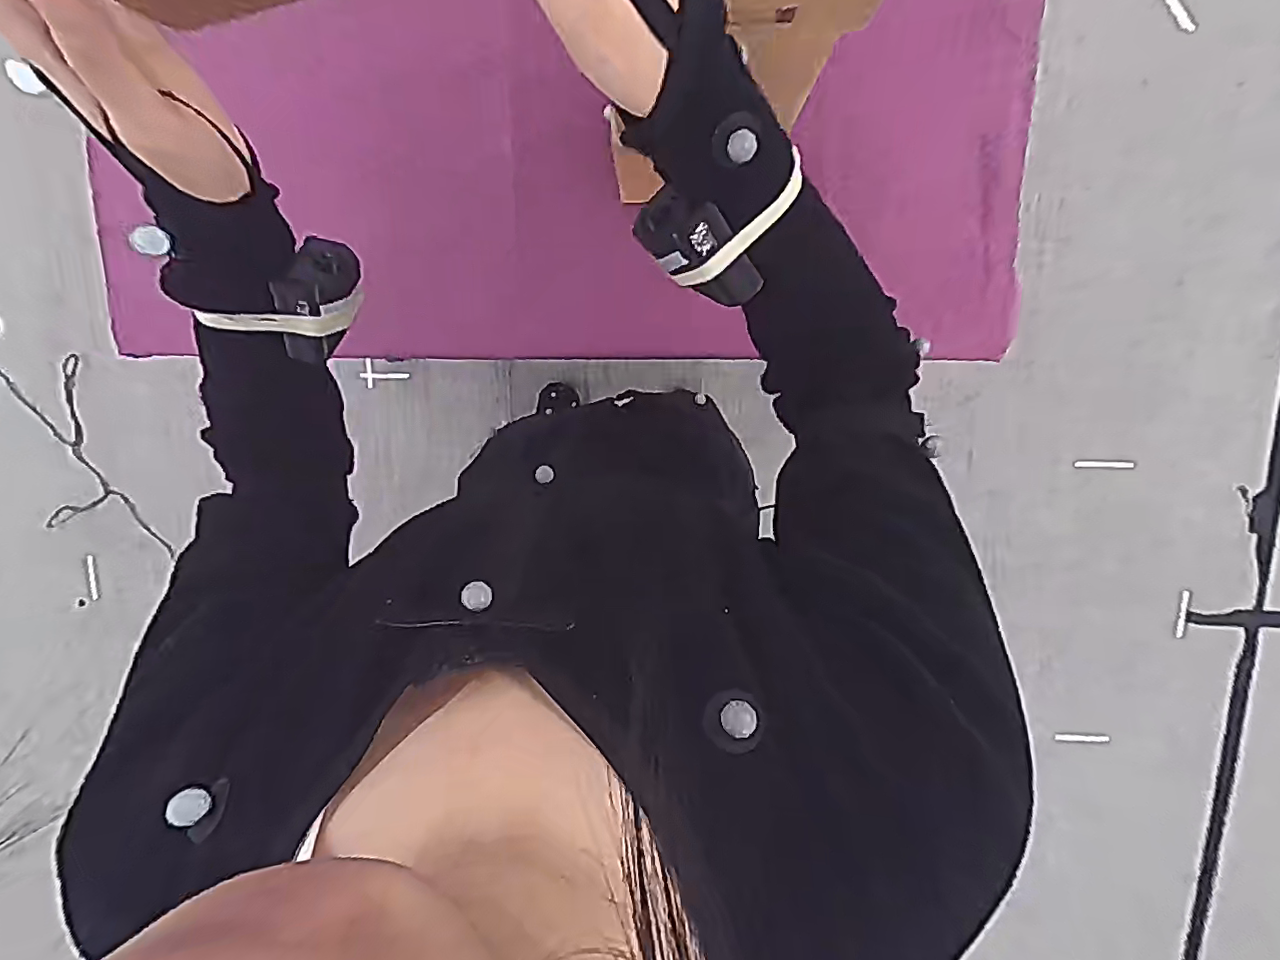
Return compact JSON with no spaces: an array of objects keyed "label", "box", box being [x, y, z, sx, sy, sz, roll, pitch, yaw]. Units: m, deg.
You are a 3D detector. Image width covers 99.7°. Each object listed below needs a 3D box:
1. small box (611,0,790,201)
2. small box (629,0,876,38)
[{"label":"small box","box":[0.061,-0.428,0.604,0.179,0.176,0.168,0,98,3]},{"label":"small box","box":[0.070,-0.380,0.279,0.168,0.176,0.179,-1,98,2]}]
